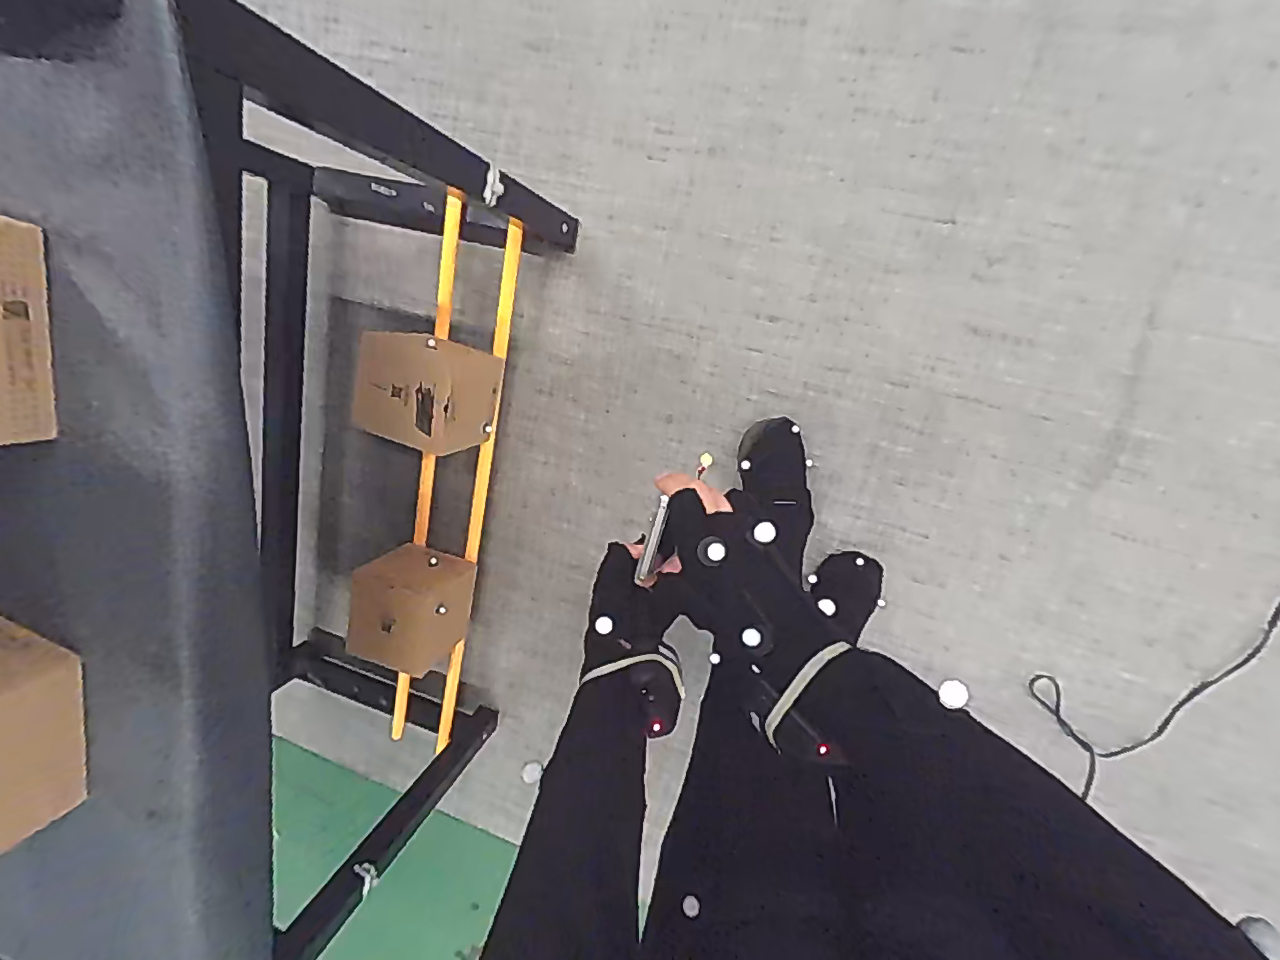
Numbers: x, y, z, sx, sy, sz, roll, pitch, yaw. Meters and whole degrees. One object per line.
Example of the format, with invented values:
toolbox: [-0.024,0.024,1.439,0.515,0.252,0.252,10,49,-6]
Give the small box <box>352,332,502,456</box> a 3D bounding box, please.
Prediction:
small box: [-0.367,-0.157,0.956,0.179,0.176,0.168,19,106,10]

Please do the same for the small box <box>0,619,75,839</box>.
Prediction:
small box: [-0.632,0.231,0.454,0.168,0.176,0.179,19,107,10]
